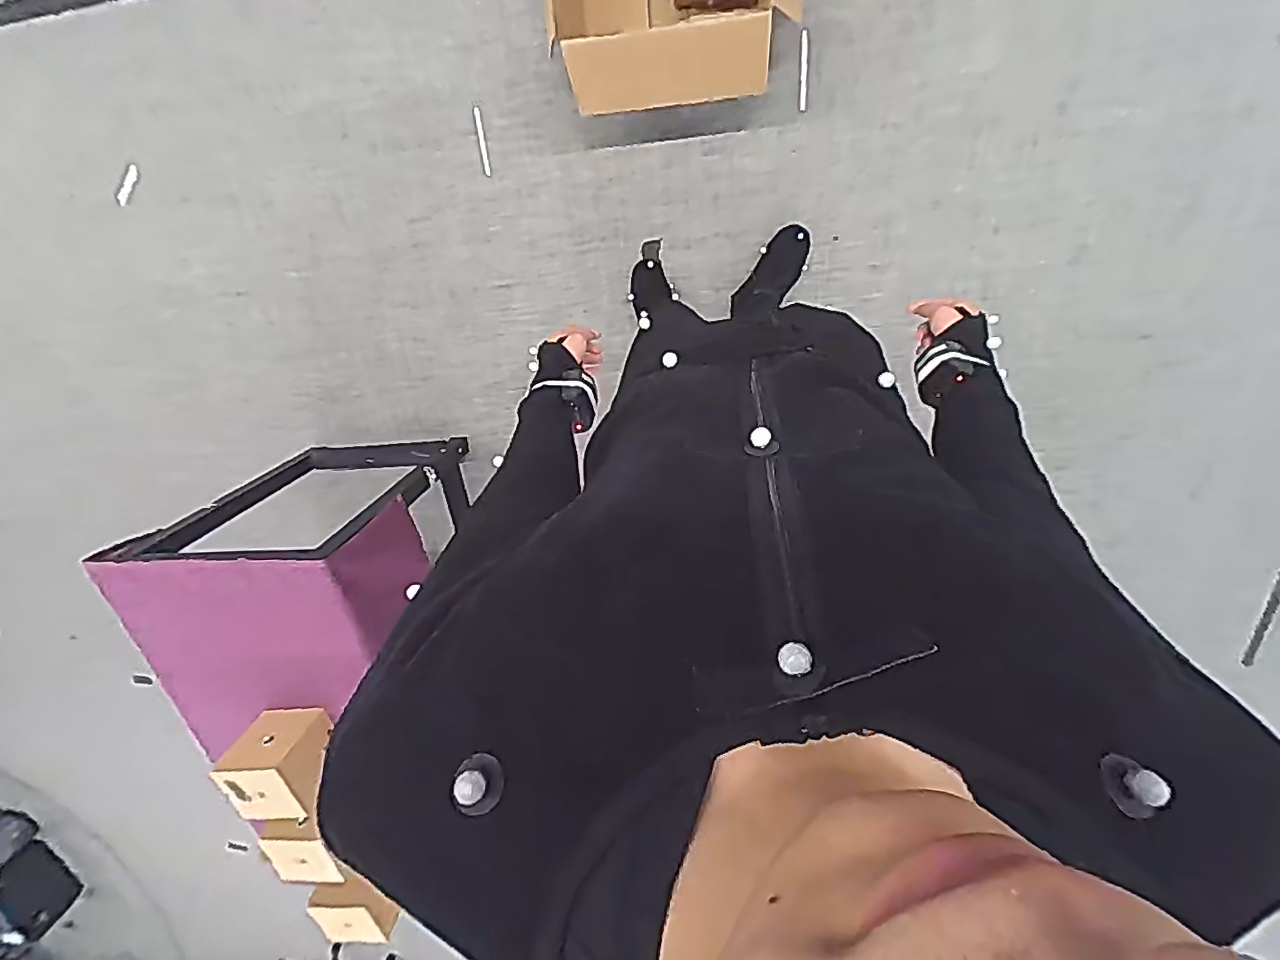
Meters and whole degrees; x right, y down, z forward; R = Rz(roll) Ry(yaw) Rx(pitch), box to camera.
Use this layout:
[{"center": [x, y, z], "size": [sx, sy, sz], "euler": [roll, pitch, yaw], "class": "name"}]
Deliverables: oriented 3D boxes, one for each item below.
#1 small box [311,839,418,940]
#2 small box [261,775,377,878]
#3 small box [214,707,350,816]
[{"center": [-0.756, 1.130, 1.501], "size": [0.179, 0.176, 0.168], "euler": [-6, 115, 11], "class": "small box"}, {"center": [-0.808, 0.884, 1.390], "size": [0.179, 0.176, 0.168], "euler": [-4, 115, 10], "class": "small box"}, {"center": [-0.841, 0.666, 1.290], "size": [0.179, 0.176, 0.168], "euler": [-8, 114, 10], "class": "small box"}]
